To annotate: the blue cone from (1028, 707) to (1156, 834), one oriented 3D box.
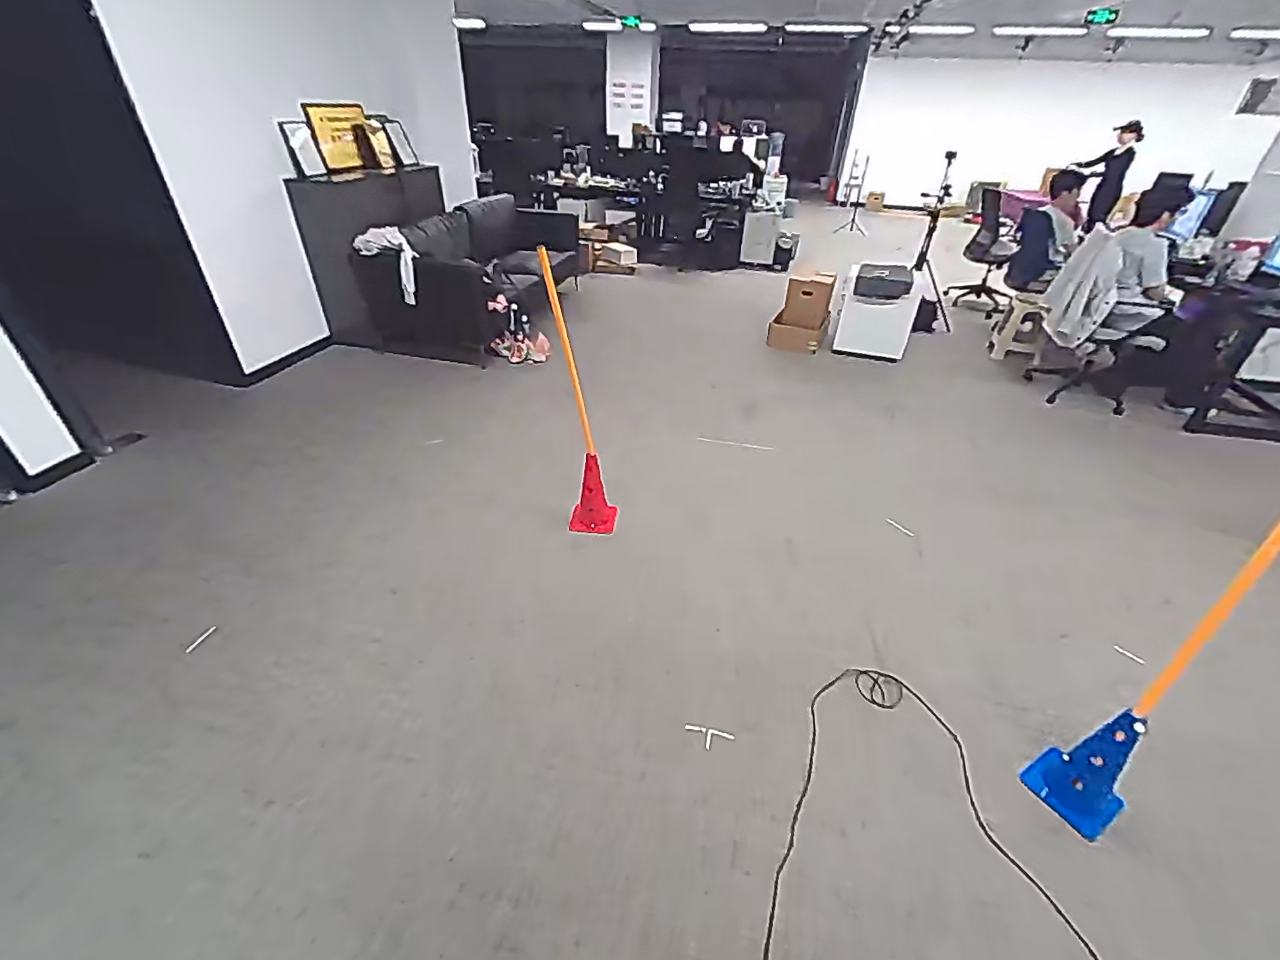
[{"bbox_3d":[1.222,0.722,1.426,0.193,0.380,0.192,-16,37,-28],"label":"blue cone"}]
